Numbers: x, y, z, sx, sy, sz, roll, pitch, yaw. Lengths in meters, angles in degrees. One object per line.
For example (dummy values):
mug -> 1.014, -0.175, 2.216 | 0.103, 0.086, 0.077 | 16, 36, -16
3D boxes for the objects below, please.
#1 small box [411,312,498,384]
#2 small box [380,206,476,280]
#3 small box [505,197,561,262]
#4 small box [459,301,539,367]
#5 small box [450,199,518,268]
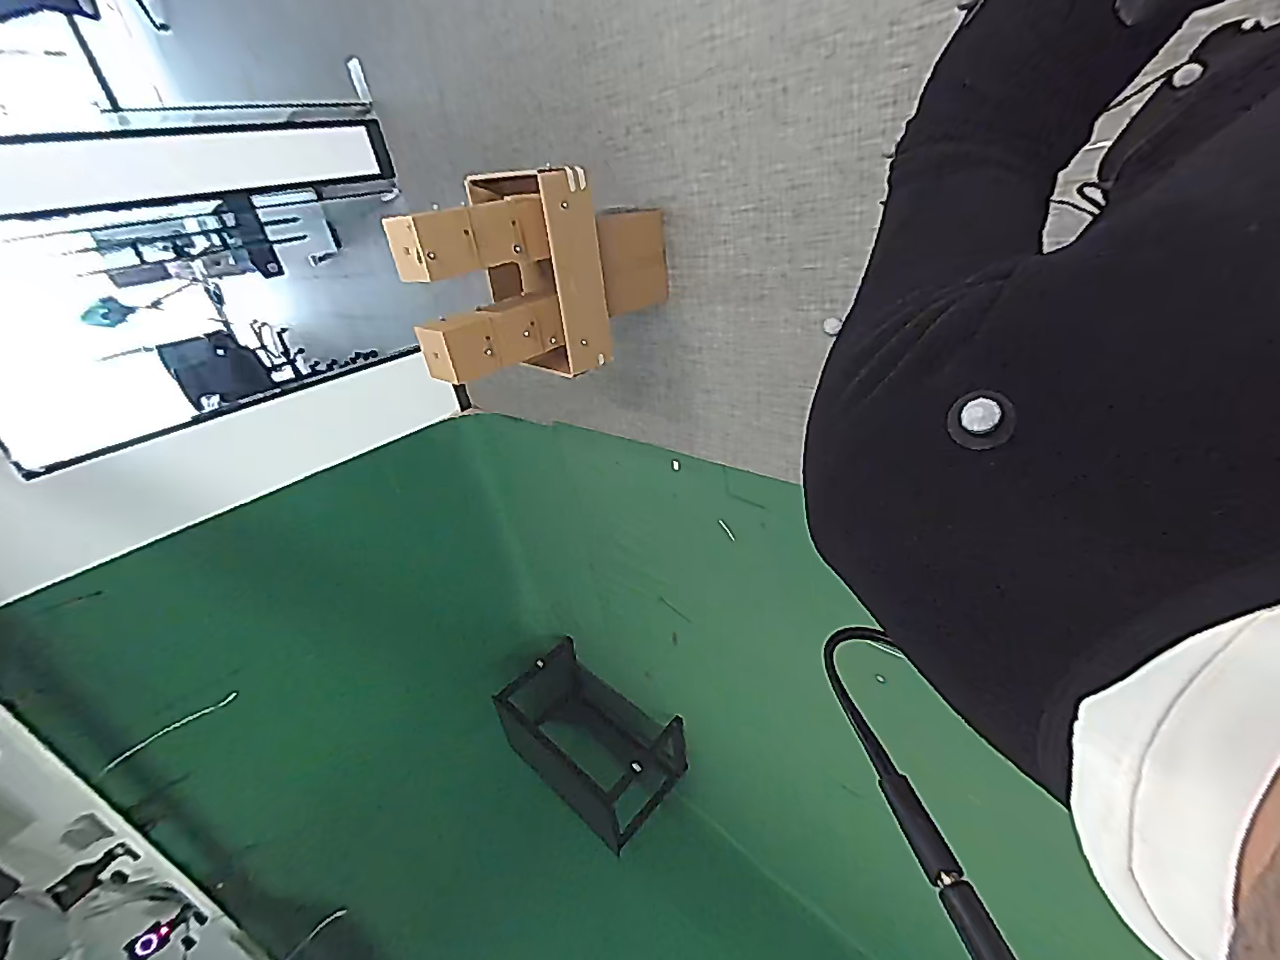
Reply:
small box -> -0.568, -0.413, 1.667 | 0.179, 0.176, 0.168 | 20, 130, 39
small box -> -0.588, -0.663, 1.512 | 0.179, 0.176, 0.168 | 19, 129, 39
small box -> -0.376, -0.801, 1.722 | 0.179, 0.176, 0.168 | 23, 131, 36
small box -> -0.459, -0.483, 1.767 | 0.179, 0.176, 0.168 | 19, 130, 39
small box -> -0.482, -0.735, 1.614 | 0.179, 0.176, 0.168 | 19, 128, 39
